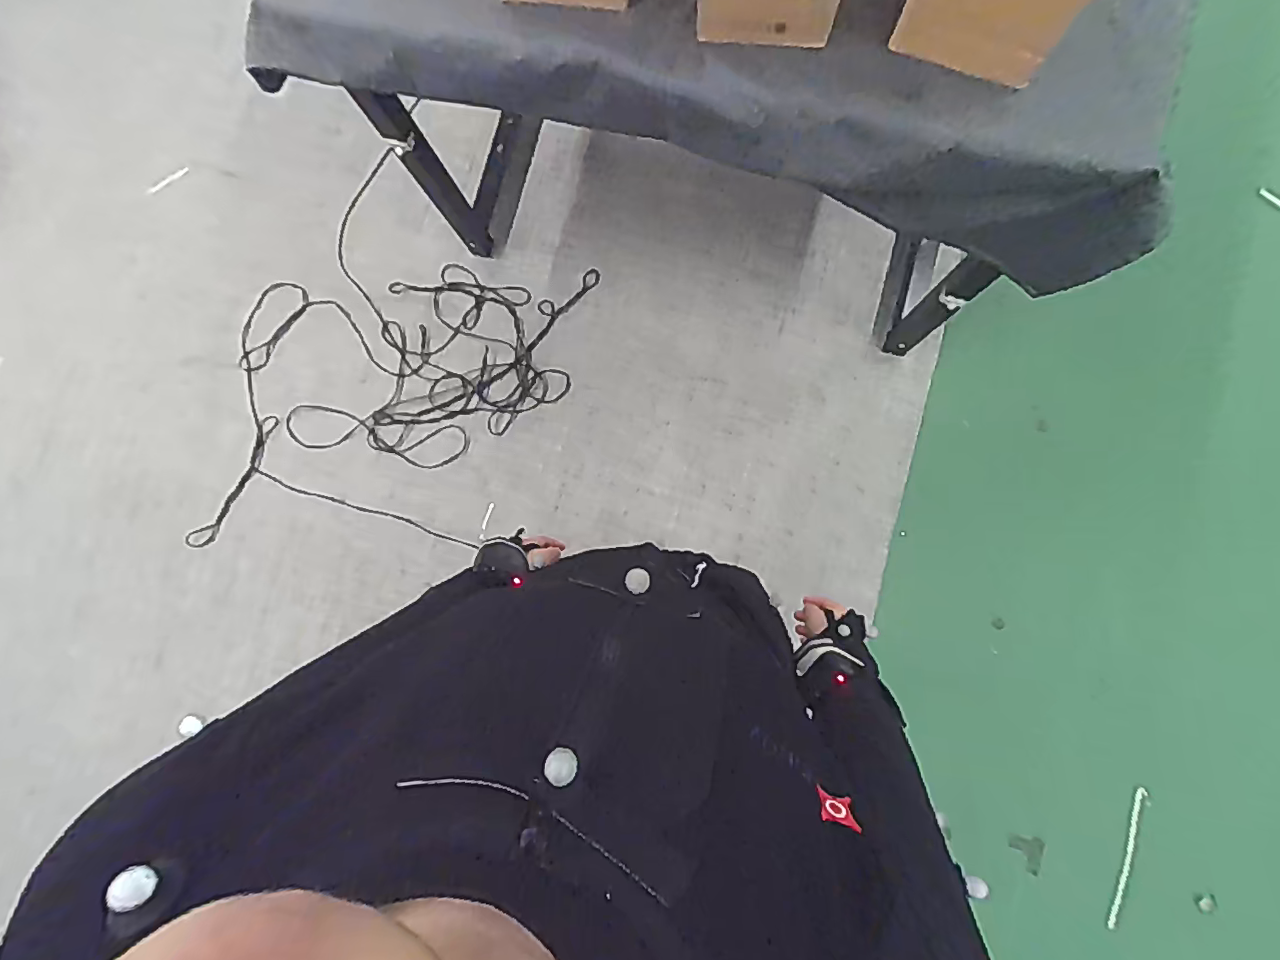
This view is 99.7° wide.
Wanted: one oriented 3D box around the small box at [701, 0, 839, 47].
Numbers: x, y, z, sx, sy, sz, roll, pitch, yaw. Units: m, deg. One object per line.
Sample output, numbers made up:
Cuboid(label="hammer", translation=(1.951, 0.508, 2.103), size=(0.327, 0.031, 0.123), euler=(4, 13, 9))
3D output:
Cuboid(label="small box", translation=(0.164, -0.650, 0.623), size=(0.168, 0.176, 0.179), euler=(8, 84, 4))

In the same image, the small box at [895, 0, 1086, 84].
Cuboid(label="small box", translation=(0.416, -0.591, 0.598), size=(0.179, 0.176, 0.168), euler=(23, 86, 6))
